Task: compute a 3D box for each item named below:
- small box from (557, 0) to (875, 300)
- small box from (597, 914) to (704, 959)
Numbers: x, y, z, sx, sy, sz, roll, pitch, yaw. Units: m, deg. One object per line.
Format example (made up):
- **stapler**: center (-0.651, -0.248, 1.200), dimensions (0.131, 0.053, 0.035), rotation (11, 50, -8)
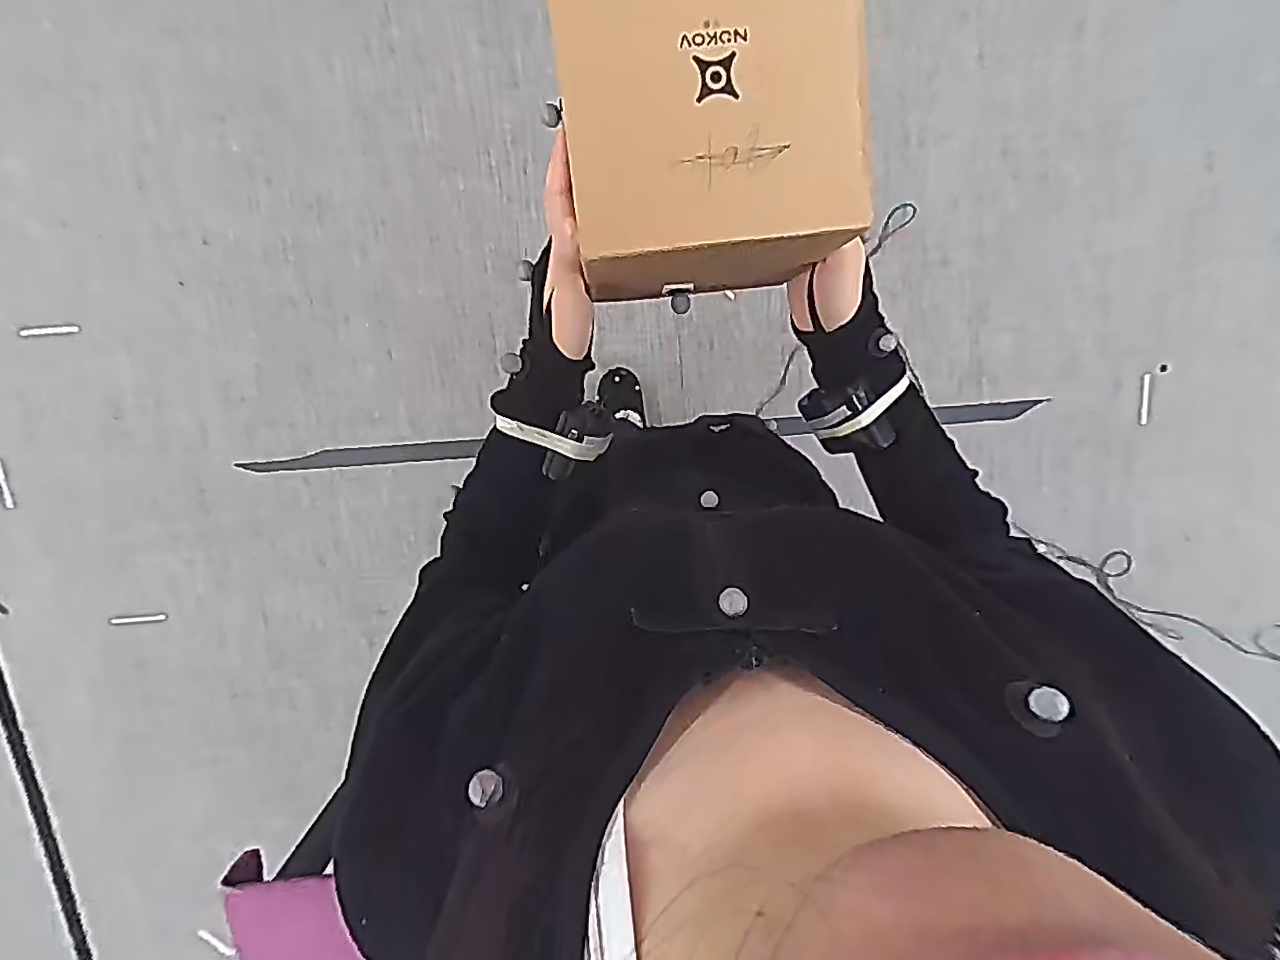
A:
- **small box**: center (0.037, -0.232, 0.365), dimensions (0.168, 0.176, 0.179), rotation (-7, 101, -1)
- **small box**: center (0.020, 0.808, 0.815), dimensions (0.168, 0.176, 0.179), rotation (-3, 101, -2)
